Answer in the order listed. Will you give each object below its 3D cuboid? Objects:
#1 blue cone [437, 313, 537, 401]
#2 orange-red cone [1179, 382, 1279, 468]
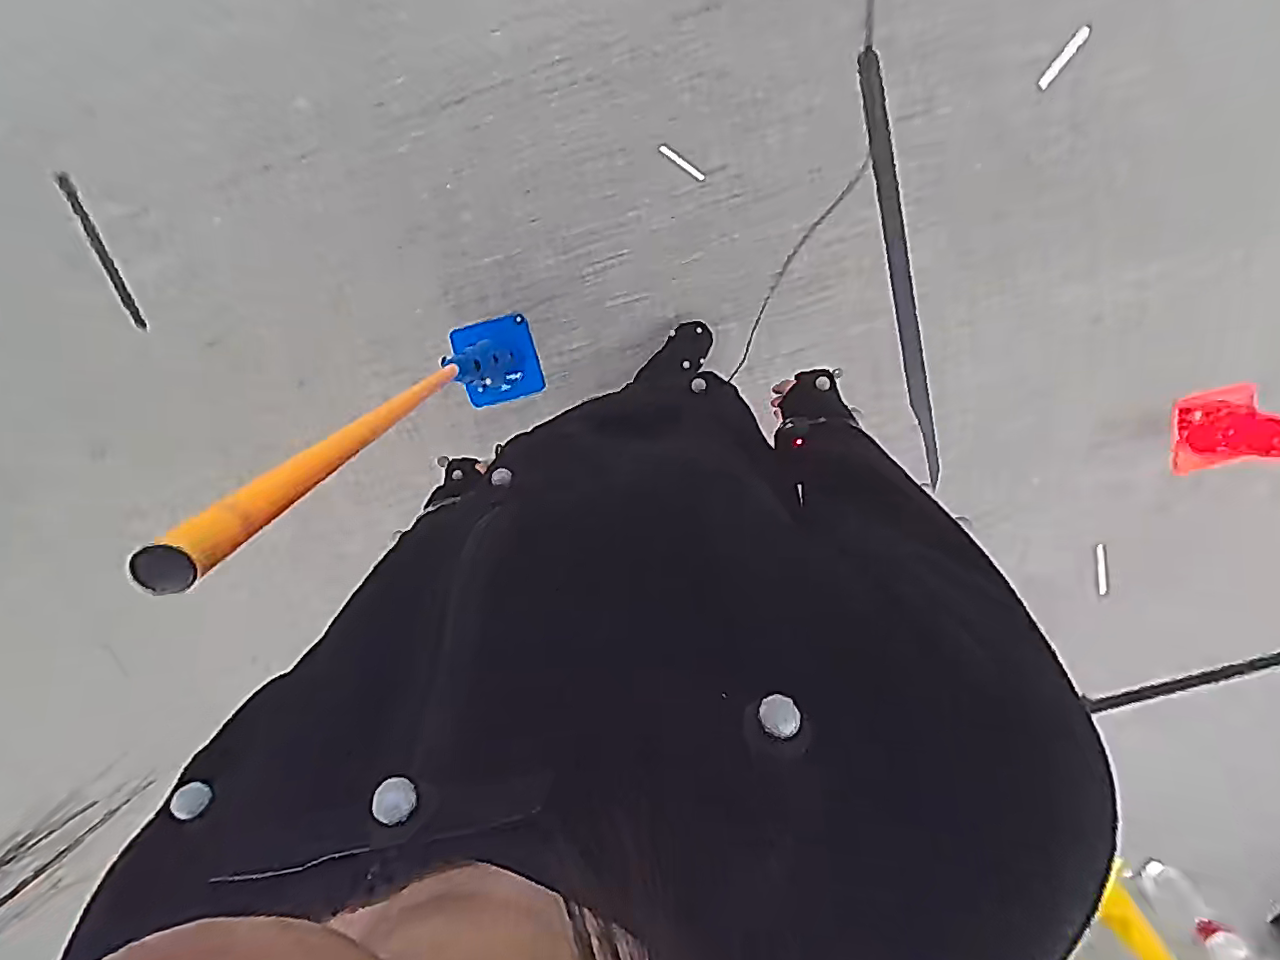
[{"bbox_3d":[-0.362,-0.261,1.192,0.193,0.380,0.192,-13,104,3],"label":"blue cone"},{"bbox_3d":[1.478,-0.095,1.211,0.198,0.360,0.199,-13,105,4],"label":"orange-red cone"}]
